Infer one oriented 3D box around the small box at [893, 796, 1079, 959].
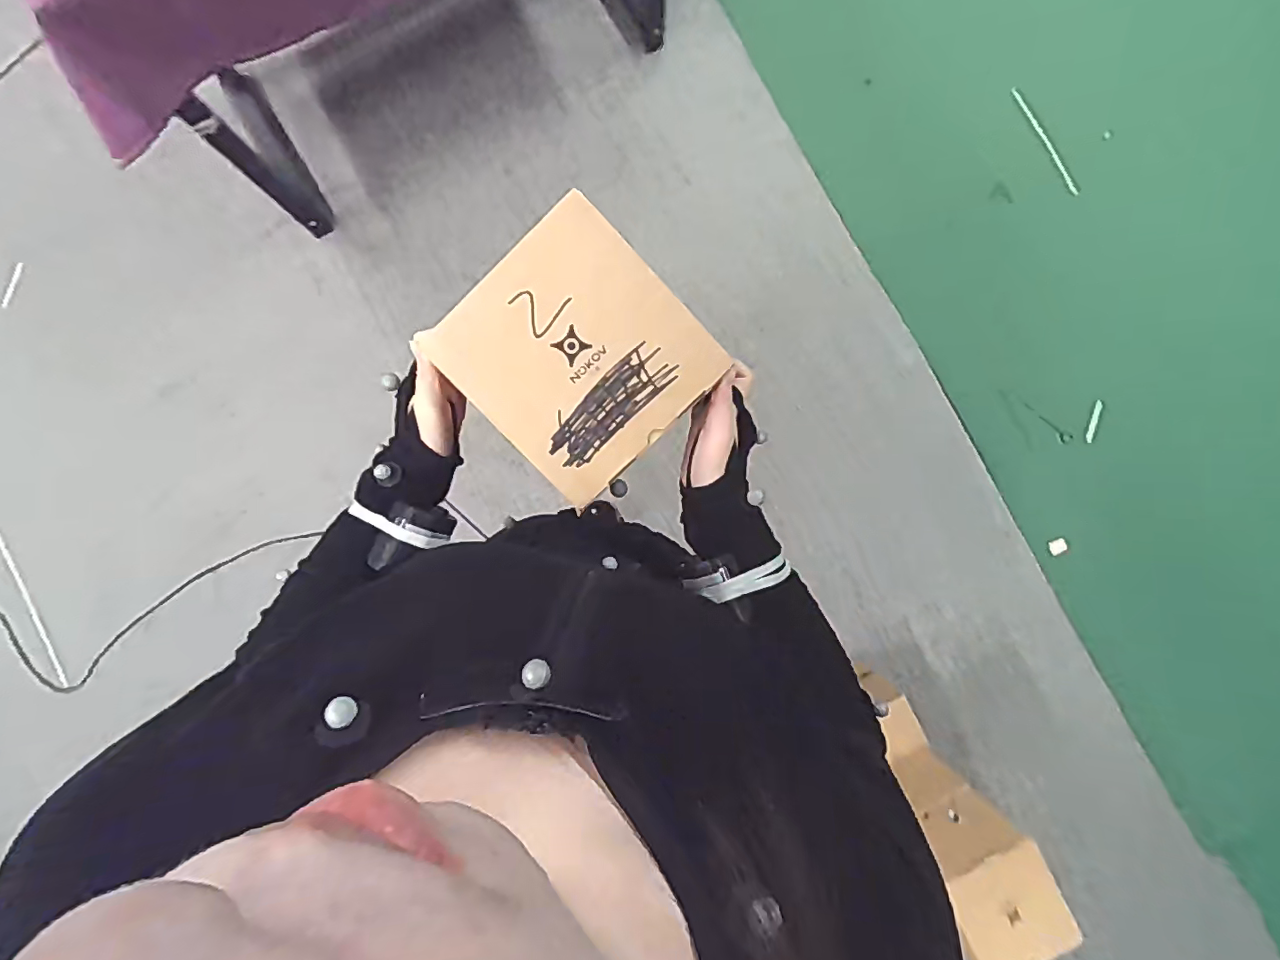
[{"bbox_3d":[0.568,0.683,0.913,0.168,0.176,0.179,-24,86,-2],"label":"small box"}]
